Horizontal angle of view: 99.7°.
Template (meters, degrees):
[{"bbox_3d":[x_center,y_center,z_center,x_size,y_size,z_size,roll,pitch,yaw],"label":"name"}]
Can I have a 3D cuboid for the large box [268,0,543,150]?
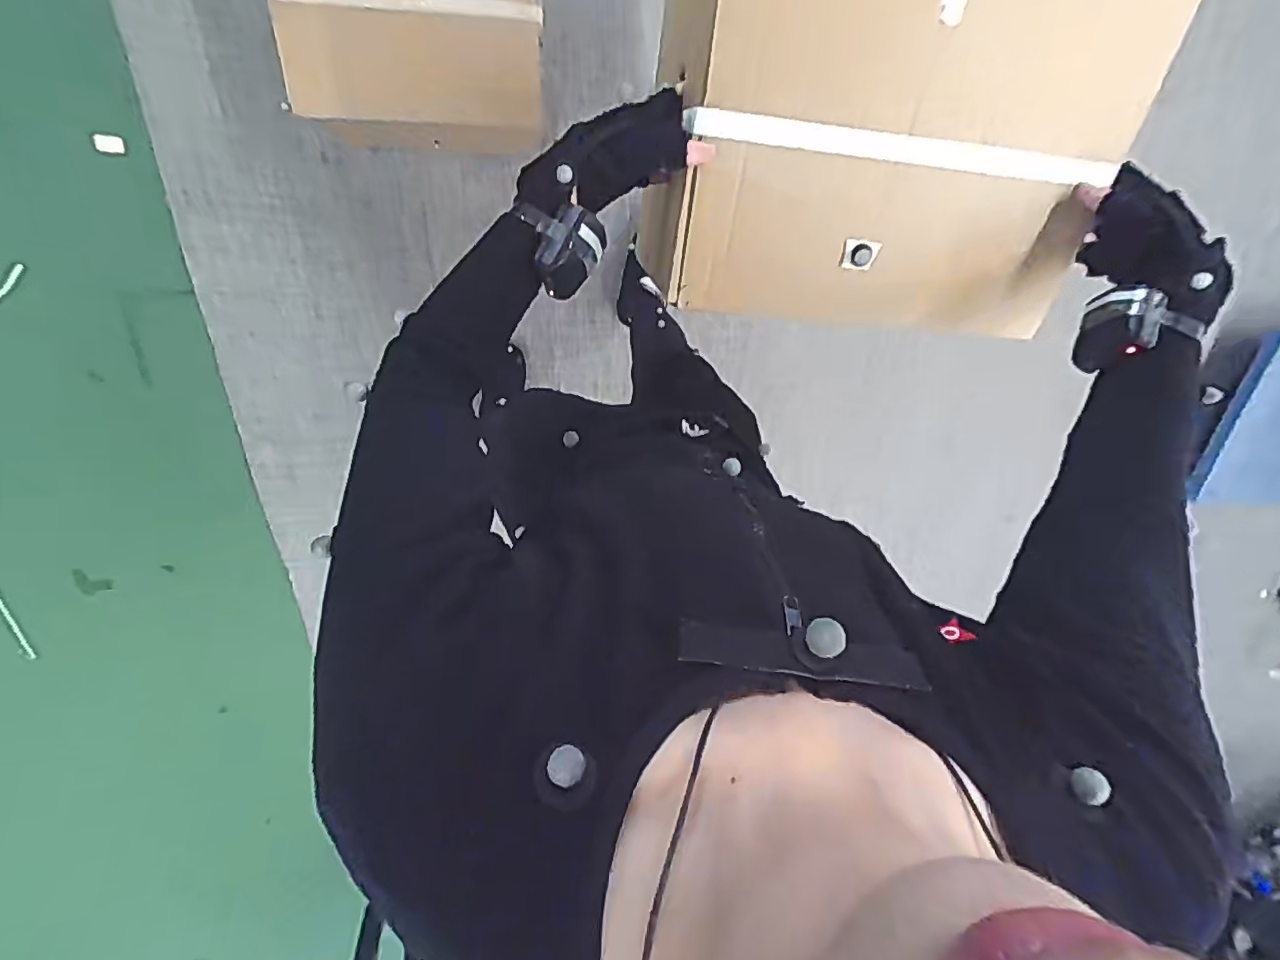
[{"bbox_3d":[-0.393,-0.798,0.980,0.408,0.320,0.320,-4,113,-10],"label":"large box"}]
